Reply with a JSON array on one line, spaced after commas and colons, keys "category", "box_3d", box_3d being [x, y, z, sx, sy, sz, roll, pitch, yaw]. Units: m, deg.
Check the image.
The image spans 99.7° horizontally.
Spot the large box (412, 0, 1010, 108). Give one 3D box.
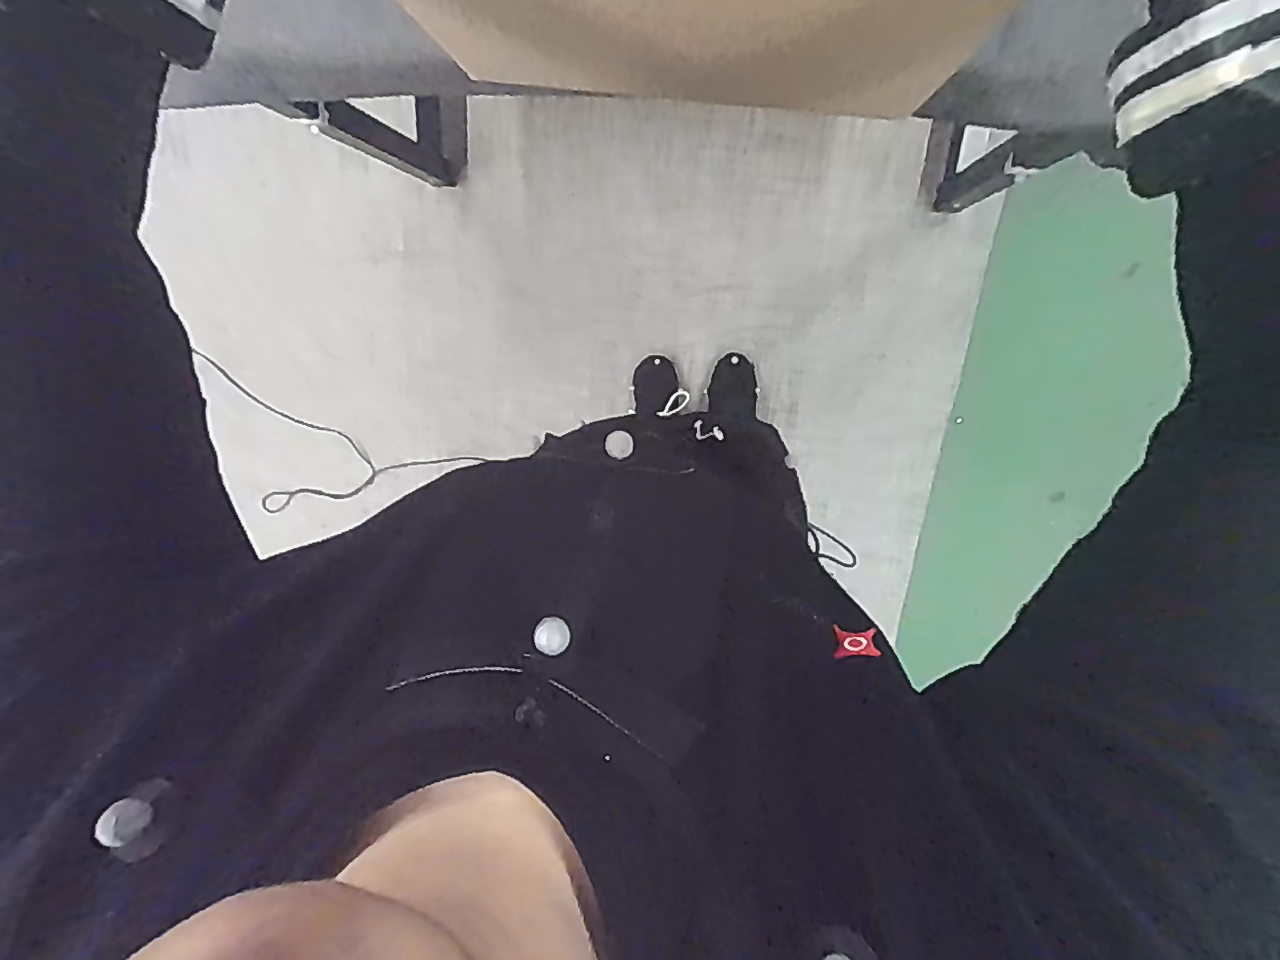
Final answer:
[{"category": "large box", "box_3d": [0.042, -0.454, 0.307, 0.408, 0.320, 0.320, 7, 107, 3]}]
